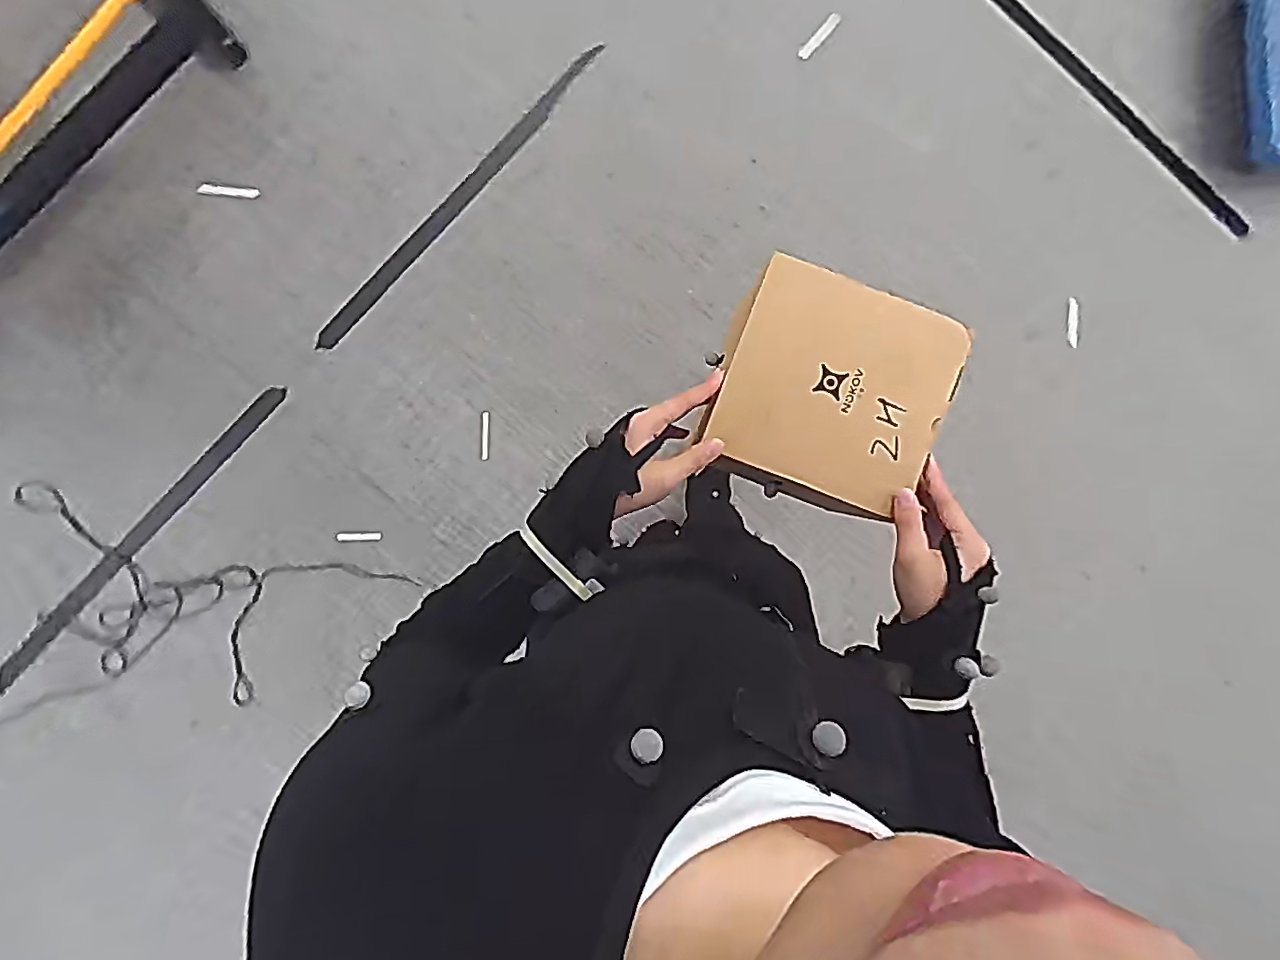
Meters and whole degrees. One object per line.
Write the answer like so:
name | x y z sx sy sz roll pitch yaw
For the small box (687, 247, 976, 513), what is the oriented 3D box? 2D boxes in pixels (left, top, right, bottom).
small box | 0.153 -0.078 0.501 0.179 0.176 0.168 20 91 -1

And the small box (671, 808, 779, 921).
small box | 0.190 0.892 1.218 0.179 0.176 0.168 39 87 -2
